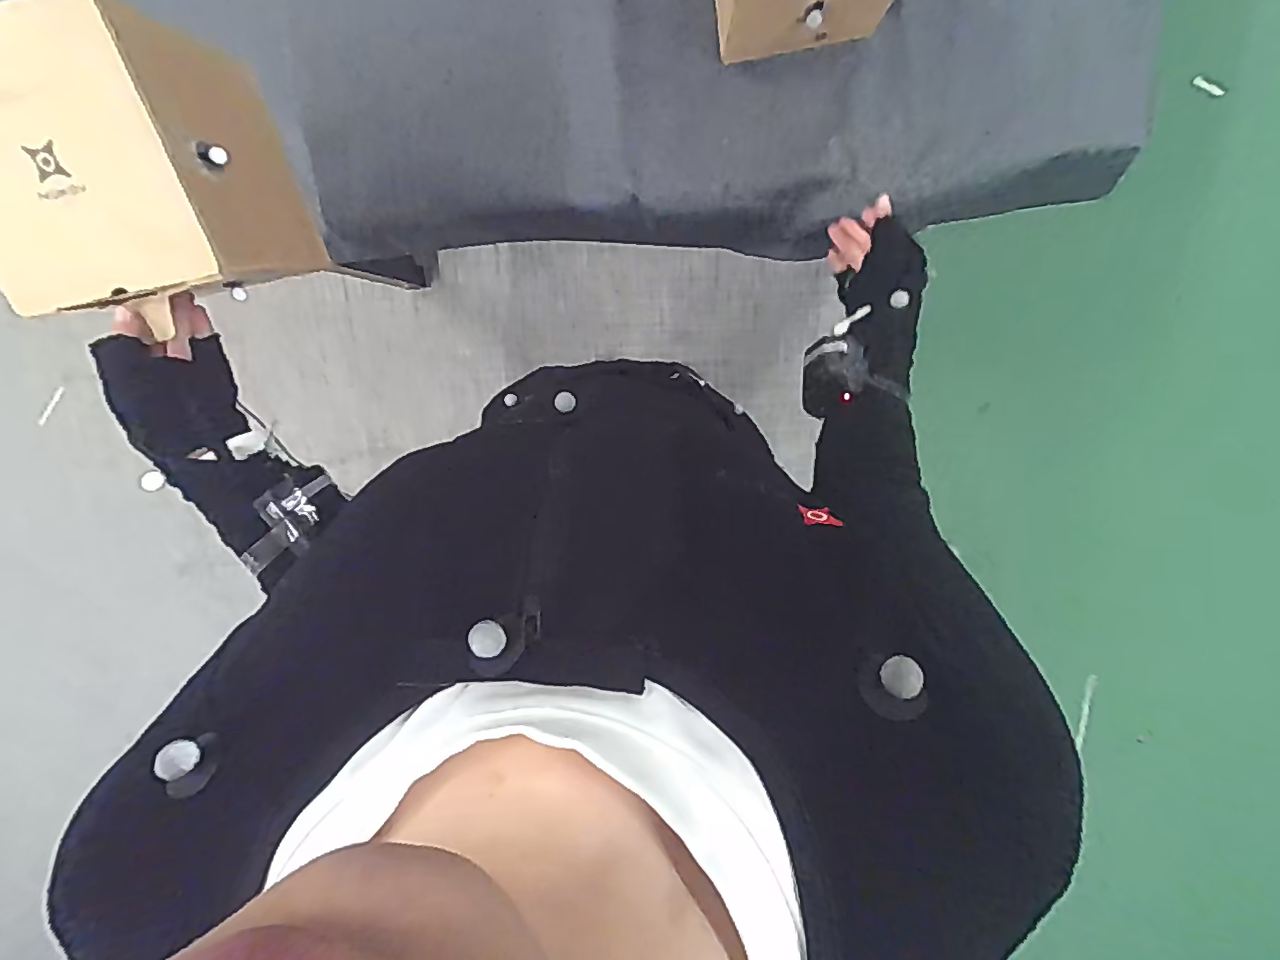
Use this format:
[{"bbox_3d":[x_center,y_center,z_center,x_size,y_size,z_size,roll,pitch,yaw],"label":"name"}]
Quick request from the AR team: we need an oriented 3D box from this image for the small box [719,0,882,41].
[{"bbox_3d":[0.157,-0.542,0.491,0.168,0.176,0.179,-8,104,4],"label":"small box"}]

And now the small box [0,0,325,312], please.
[{"bbox_3d":[-0.398,-0.249,0.437,0.168,0.176,0.179,-11,113,3],"label":"small box"}]
